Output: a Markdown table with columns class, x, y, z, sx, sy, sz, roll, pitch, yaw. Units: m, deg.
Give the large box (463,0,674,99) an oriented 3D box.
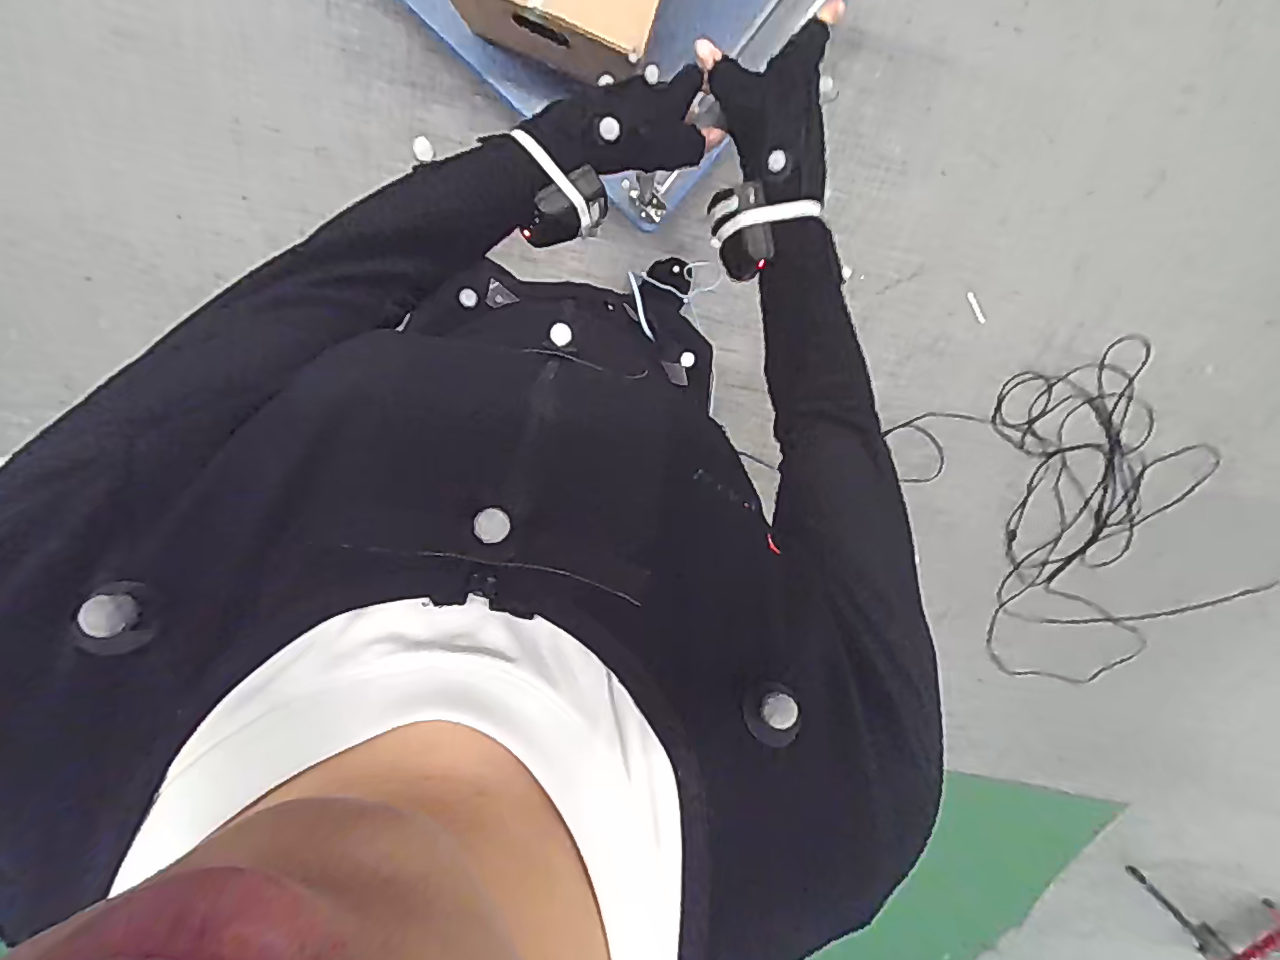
| class | x | y | z | sx | sy | sz | roll | pitch | yaw |
| --- | --- | --- | --- | --- | --- | --- | --- | --- | --- |
| large box | -0.068 | -0.868 | 0.791 | 0.320 | 0.320 | 0.408 | 17 | 114 | -11 |
